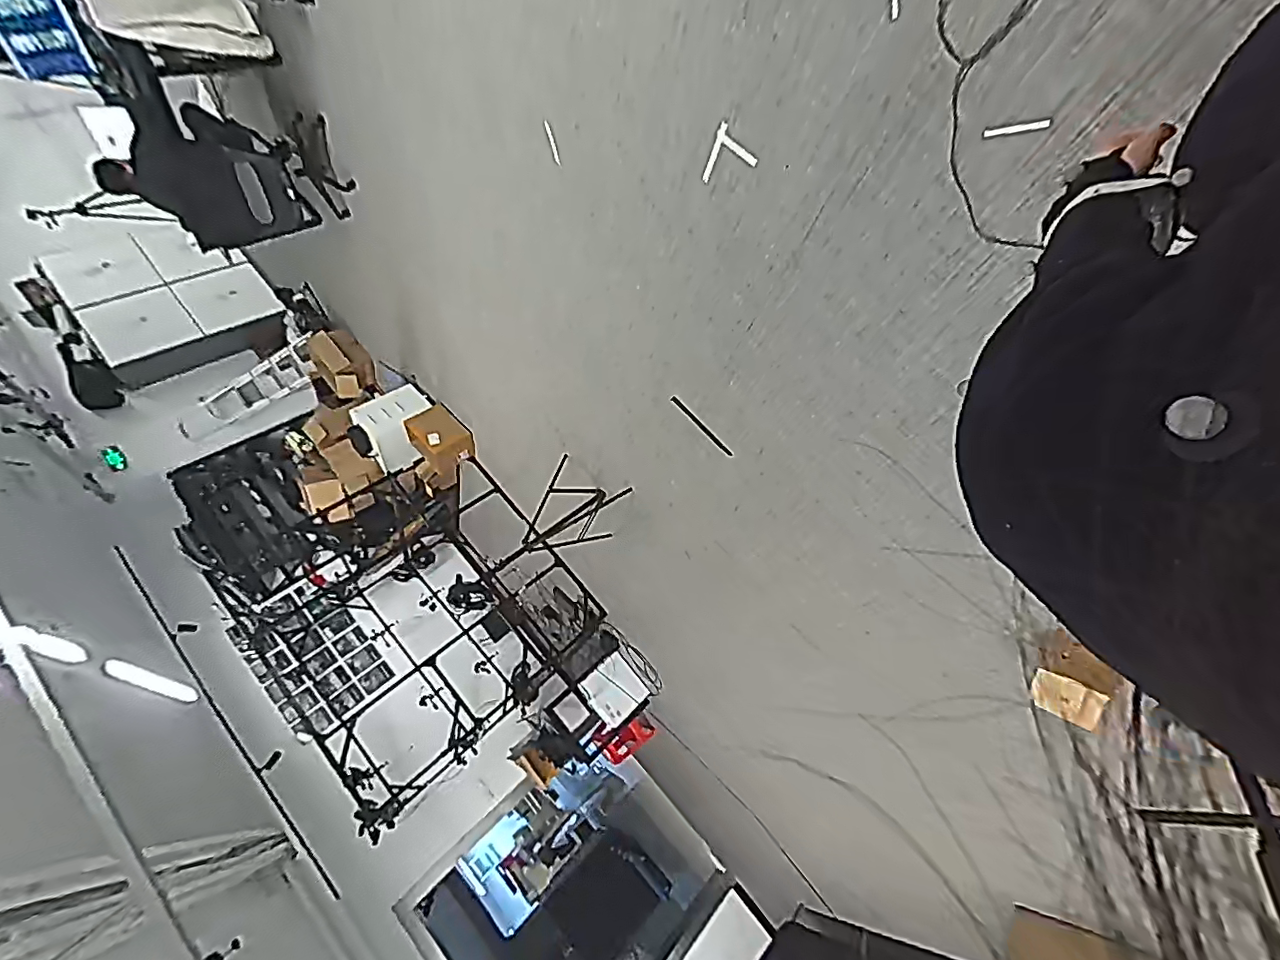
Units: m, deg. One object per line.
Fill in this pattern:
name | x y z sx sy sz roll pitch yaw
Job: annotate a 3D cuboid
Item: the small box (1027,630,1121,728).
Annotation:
small box | 1.281 0.578 1.597 0.168 0.176 0.179 24 139 42
